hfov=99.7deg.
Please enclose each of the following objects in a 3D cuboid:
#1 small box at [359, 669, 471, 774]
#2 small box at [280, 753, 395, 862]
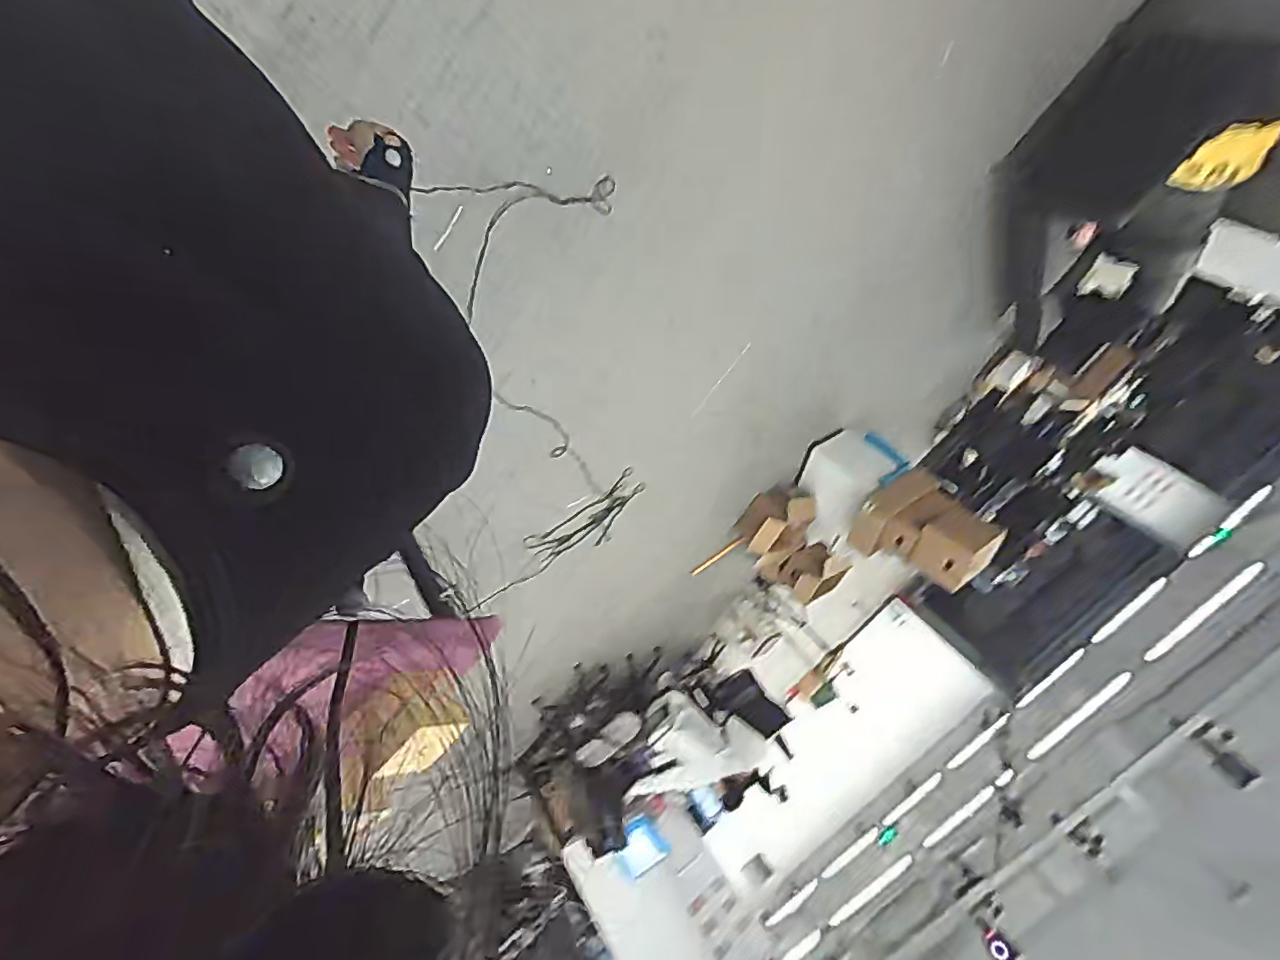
[{"bbox_3d":[-0.567,0.594,1.353,0.179,0.176,0.168,-46,148,5],"label":"small box"},{"bbox_3d":[-0.780,0.829,1.392,0.168,0.176,0.179,-45,147,0],"label":"small box"}]
